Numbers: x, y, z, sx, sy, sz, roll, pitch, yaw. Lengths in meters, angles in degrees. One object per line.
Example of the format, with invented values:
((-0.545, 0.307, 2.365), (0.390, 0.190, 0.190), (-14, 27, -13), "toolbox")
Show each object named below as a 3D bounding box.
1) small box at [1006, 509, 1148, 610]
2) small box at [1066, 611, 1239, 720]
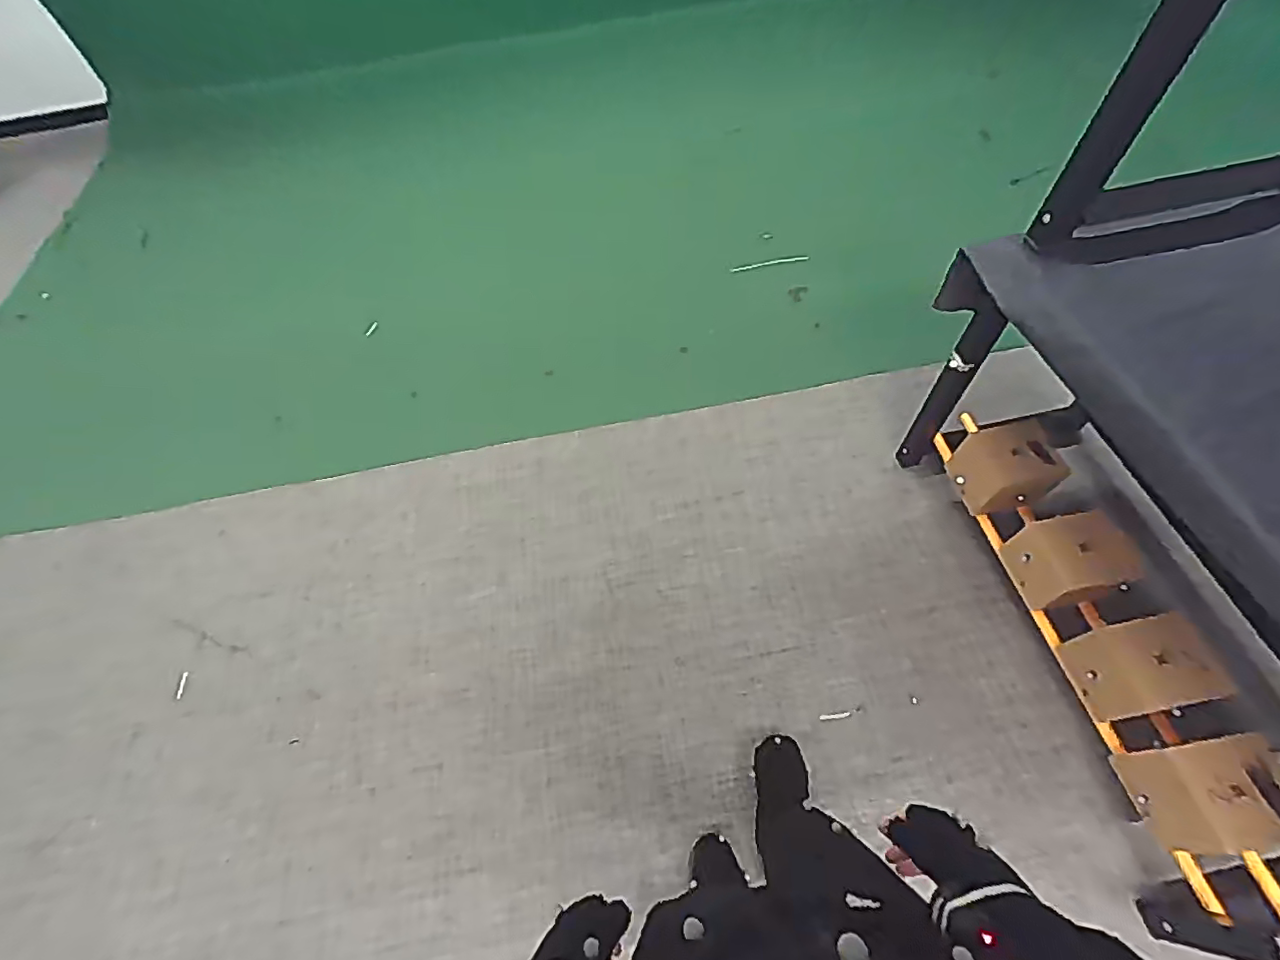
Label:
((0.998, 0.190, 1.261), (0.179, 0.176, 0.168), (-11, 59, 0), "small box")
((1.046, 0.393, 1.131), (0.179, 0.176, 0.168), (-12, 60, -1), "small box")
